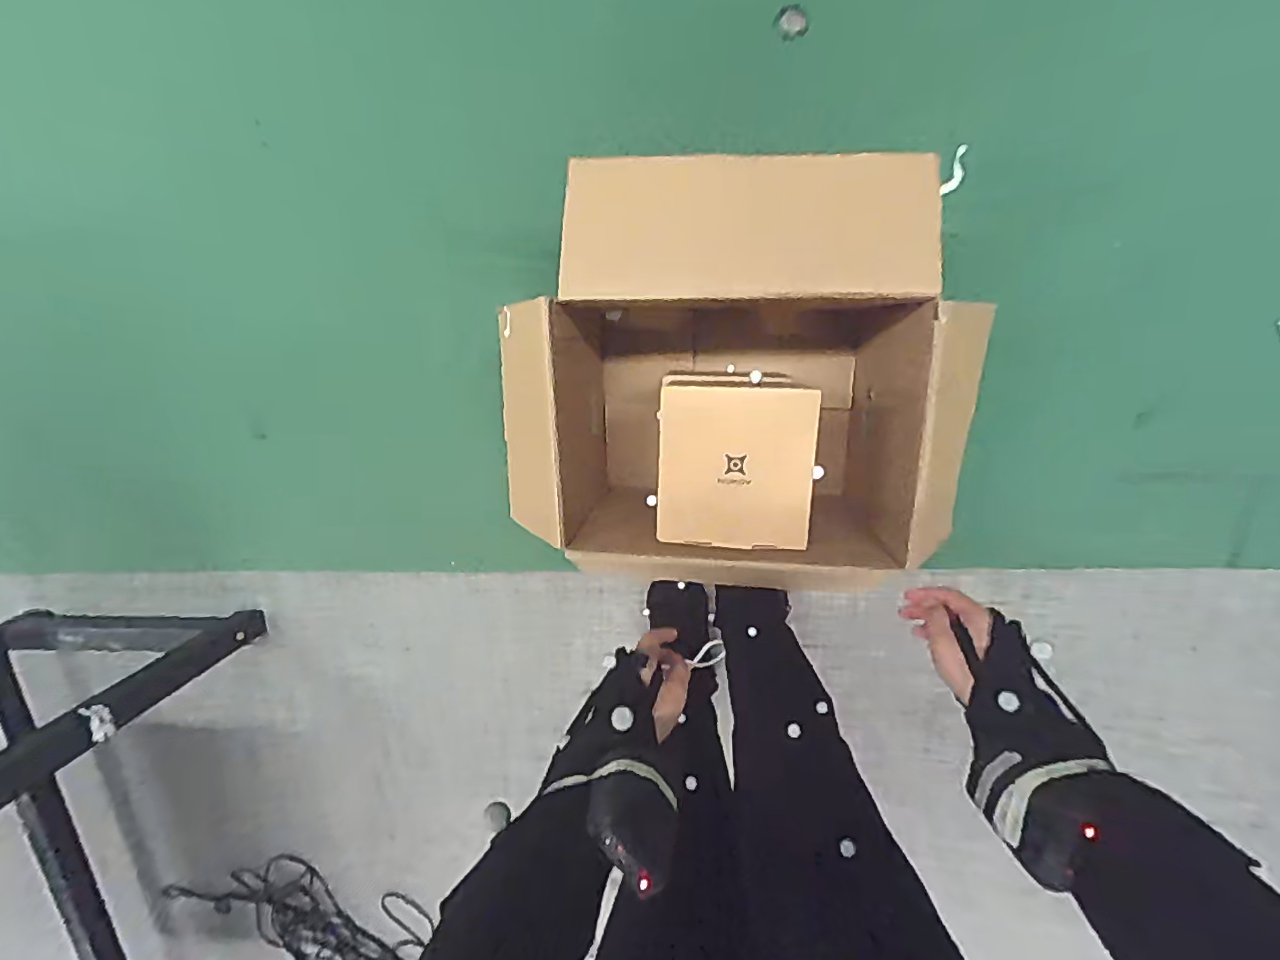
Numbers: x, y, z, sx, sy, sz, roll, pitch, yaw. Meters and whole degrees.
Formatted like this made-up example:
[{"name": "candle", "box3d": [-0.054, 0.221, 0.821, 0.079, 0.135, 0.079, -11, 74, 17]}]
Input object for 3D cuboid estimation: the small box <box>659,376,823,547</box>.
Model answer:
[{"name": "small box", "box3d": [0.112, -0.033, 0.652, 0.168, 0.176, 0.179, 2, 104, 6]}]
